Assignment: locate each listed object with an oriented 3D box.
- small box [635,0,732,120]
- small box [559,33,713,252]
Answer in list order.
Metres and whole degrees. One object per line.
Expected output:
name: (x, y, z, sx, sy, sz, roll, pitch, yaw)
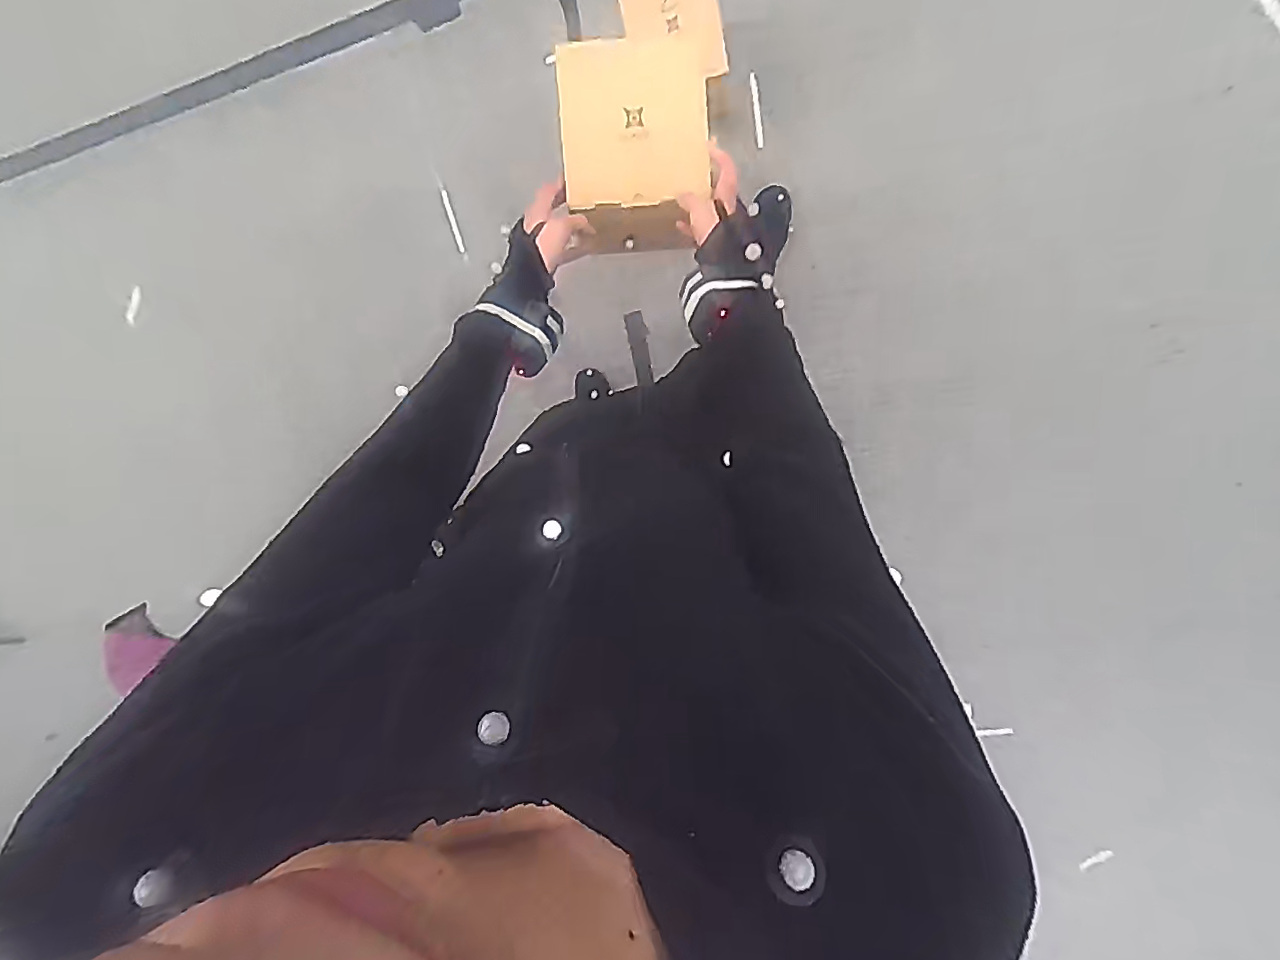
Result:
small box: (0.097, -0.879, 1.163, 0.168, 0.176, 0.179, -12, 113, 14)
small box: (-0.005, -0.407, 0.679, 0.168, 0.176, 0.179, -4, 97, 0)
